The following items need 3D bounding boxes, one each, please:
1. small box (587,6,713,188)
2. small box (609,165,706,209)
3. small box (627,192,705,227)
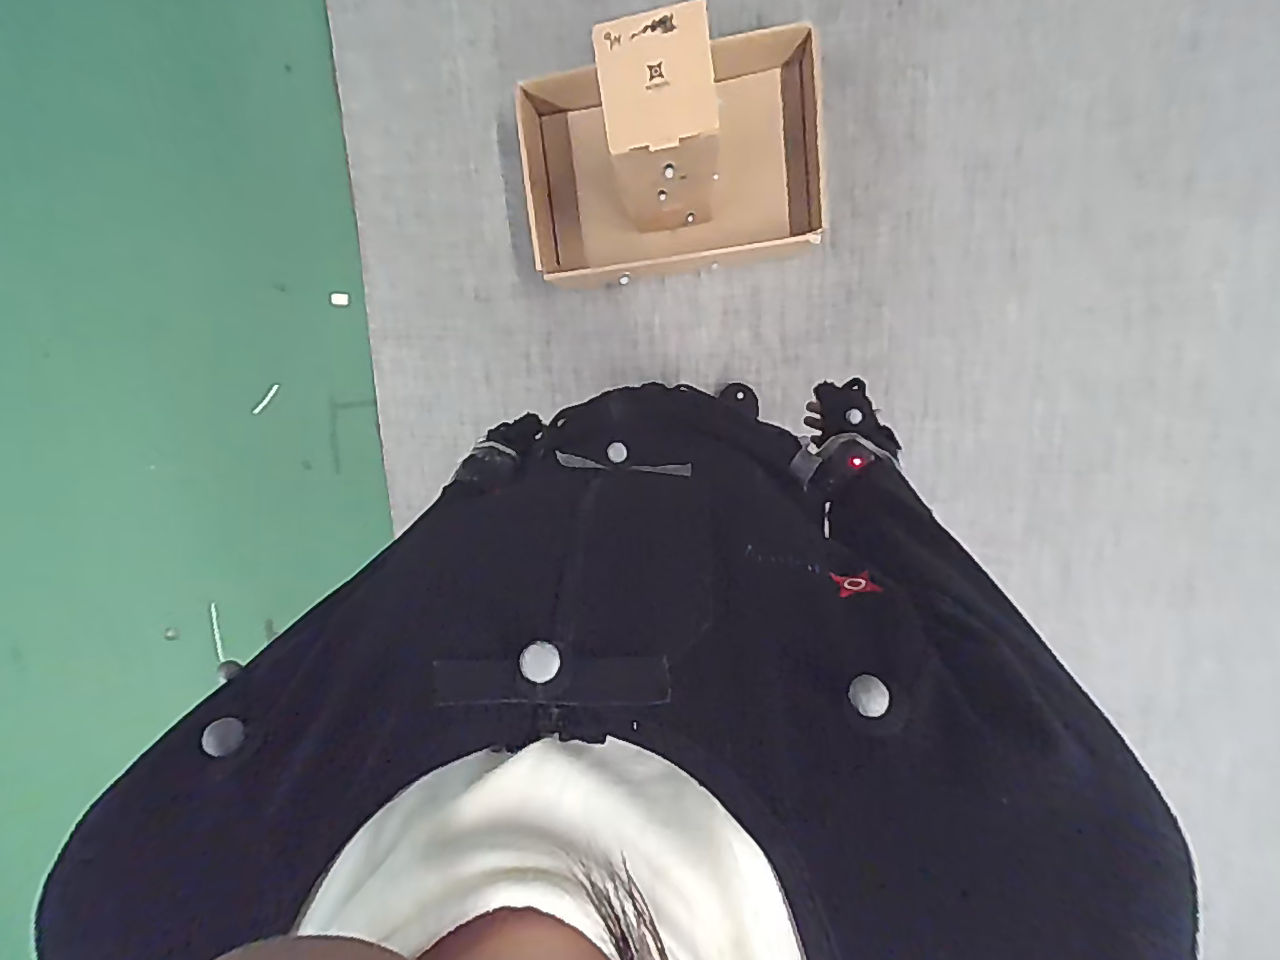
[{"bbox_3d":[0.026,-0.600,0.879,0.168,0.176,0.179,-9,99,10],"label":"small box"},{"bbox_3d":[0.036,-0.636,1.036,0.179,0.176,0.168,-4,99,9],"label":"small box"},{"bbox_3d":[0.054,-0.668,1.179,0.168,0.176,0.179,-5,98,8],"label":"small box"}]
